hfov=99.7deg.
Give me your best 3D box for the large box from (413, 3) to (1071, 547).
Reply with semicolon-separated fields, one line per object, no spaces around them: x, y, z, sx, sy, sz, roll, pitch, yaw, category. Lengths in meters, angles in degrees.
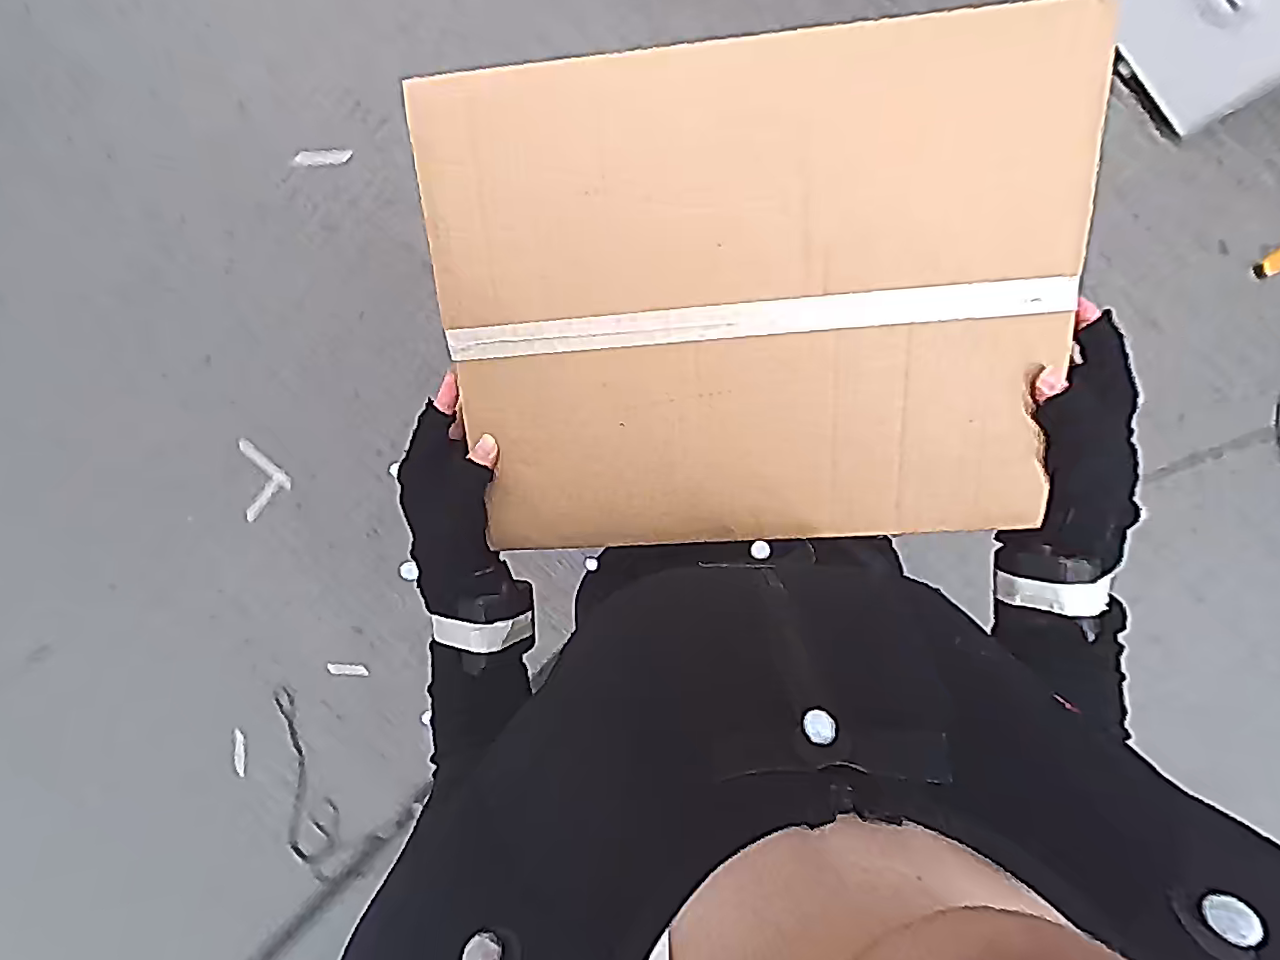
0.074;-0.153;0.510;0.408;0.320;0.320;-4;108;5;large box
